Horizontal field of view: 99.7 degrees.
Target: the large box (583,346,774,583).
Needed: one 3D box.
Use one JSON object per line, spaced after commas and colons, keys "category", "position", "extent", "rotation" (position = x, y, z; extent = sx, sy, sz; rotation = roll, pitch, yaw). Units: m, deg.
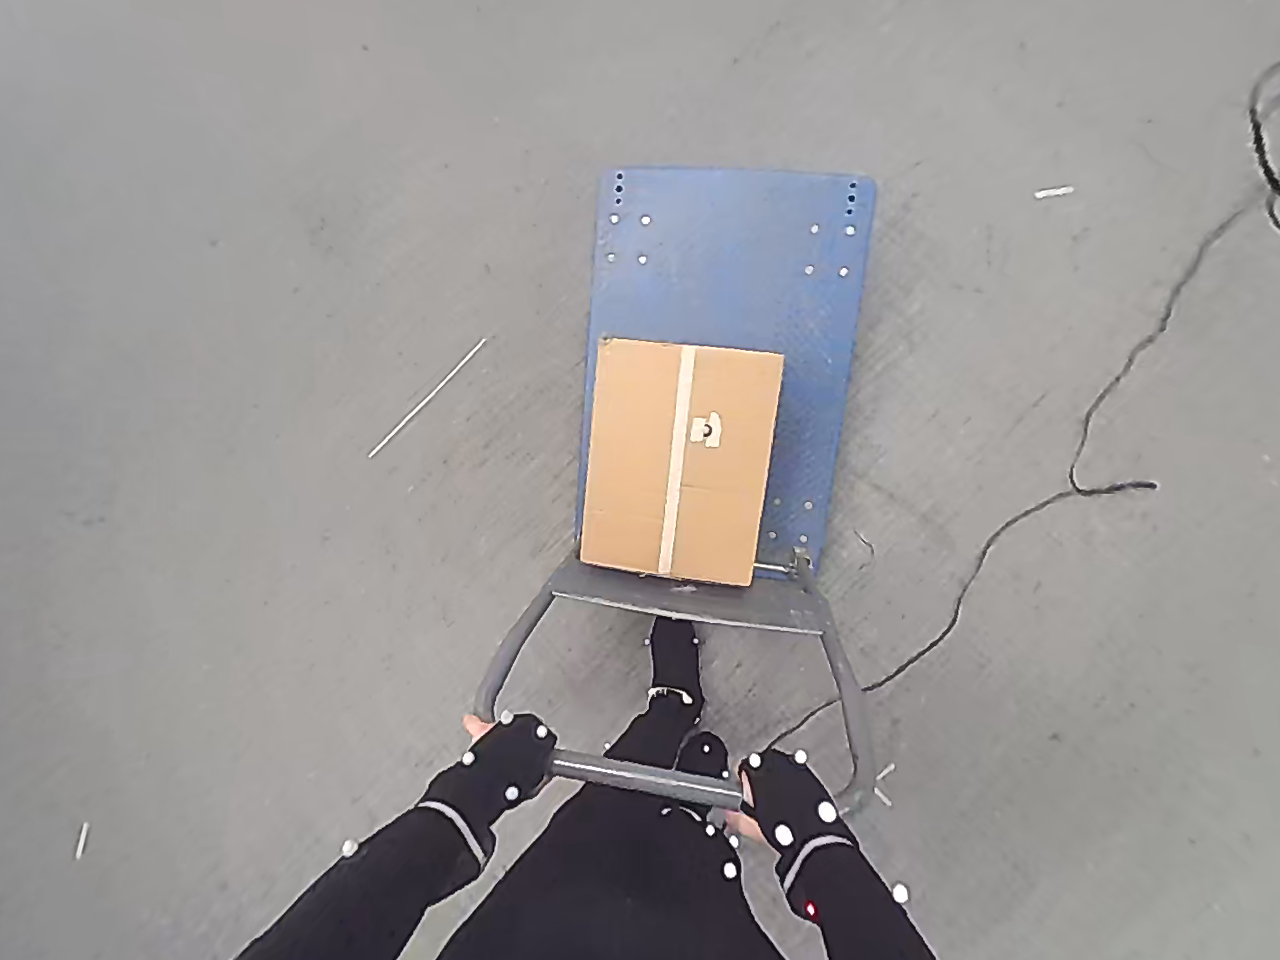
{"category": "large box", "position": [0.084, -0.044, 1.107], "extent": [0.320, 0.320, 0.408], "rotation": [7, 99, 7]}
